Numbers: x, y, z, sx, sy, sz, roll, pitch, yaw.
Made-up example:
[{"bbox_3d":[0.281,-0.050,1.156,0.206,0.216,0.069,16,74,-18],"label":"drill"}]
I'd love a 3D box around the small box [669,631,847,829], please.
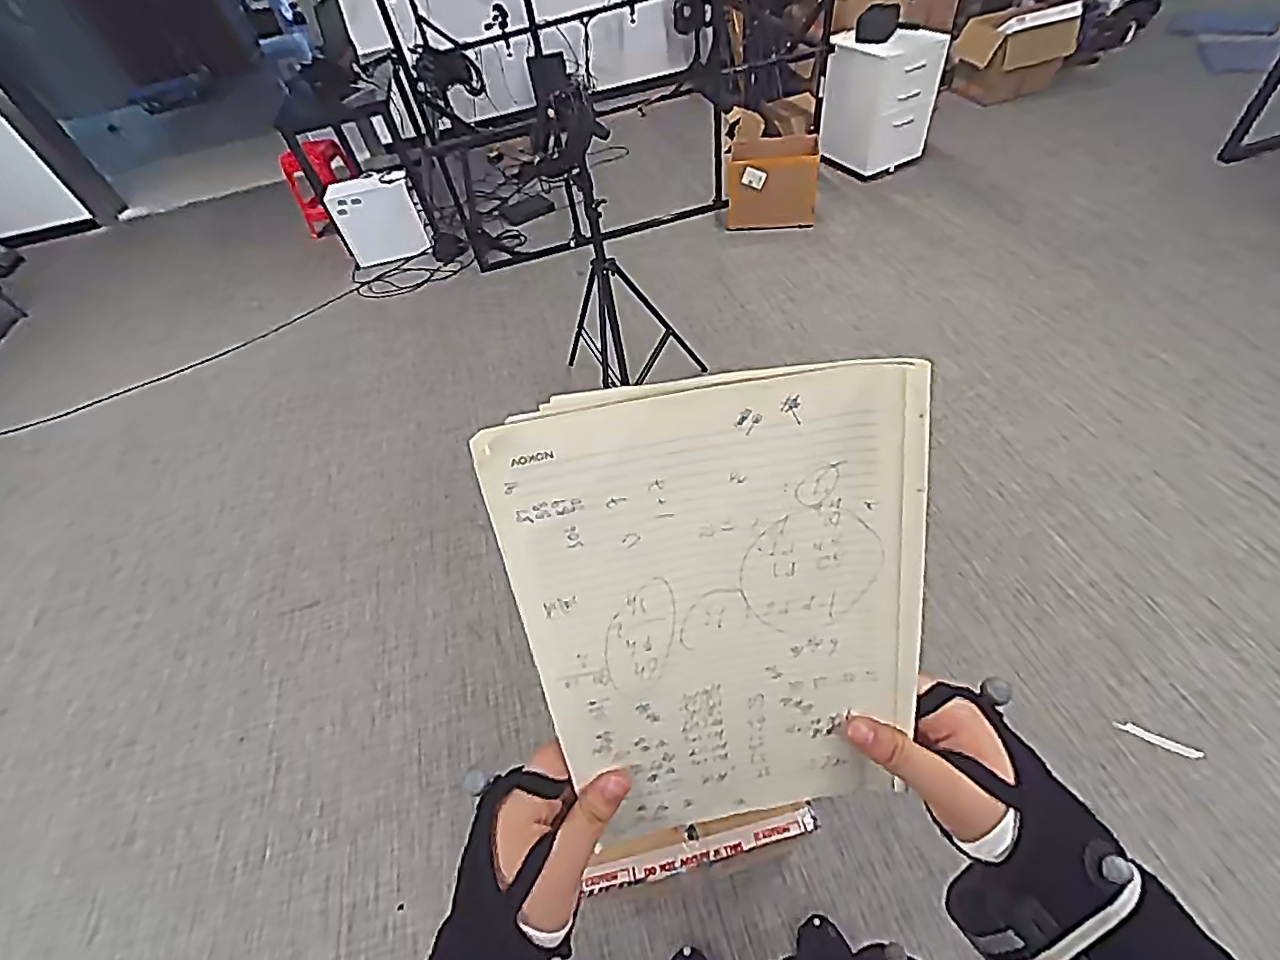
[{"bbox_3d":[0.138,0.328,0.706,0.168,0.176,0.179,-14,52,-5],"label":"small box"}]

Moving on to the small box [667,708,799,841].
[{"bbox_3d":[0.150,0.432,0.833,0.179,0.176,0.168,-17,51,-6],"label":"small box"}]
